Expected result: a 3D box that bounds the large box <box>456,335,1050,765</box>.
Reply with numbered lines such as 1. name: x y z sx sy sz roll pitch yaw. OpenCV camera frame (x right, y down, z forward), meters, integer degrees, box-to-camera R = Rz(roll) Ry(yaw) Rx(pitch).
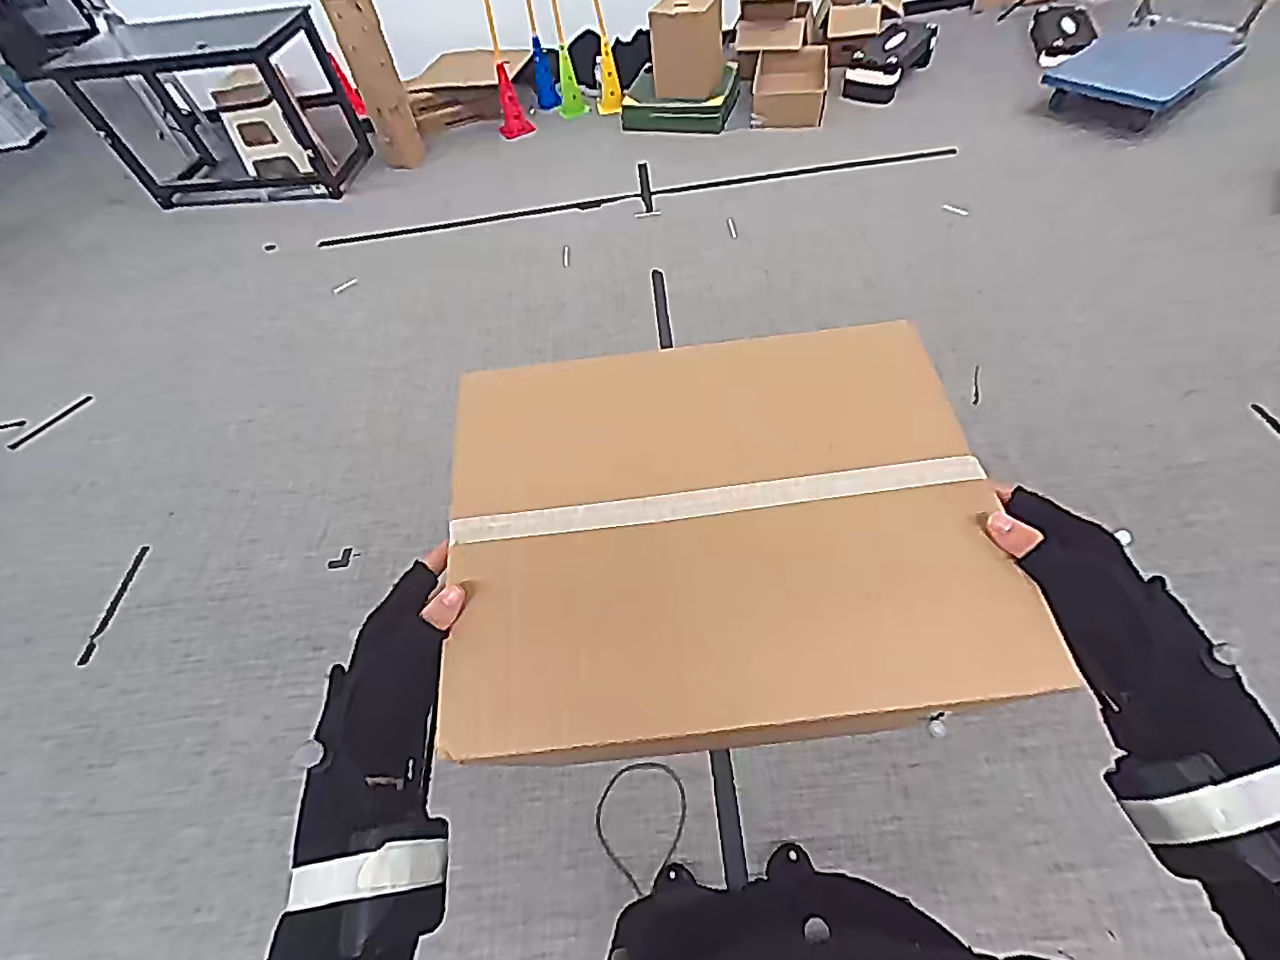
1. large box: 0.070 0.095 0.555 0.408 0.320 0.320 -7 61 1
